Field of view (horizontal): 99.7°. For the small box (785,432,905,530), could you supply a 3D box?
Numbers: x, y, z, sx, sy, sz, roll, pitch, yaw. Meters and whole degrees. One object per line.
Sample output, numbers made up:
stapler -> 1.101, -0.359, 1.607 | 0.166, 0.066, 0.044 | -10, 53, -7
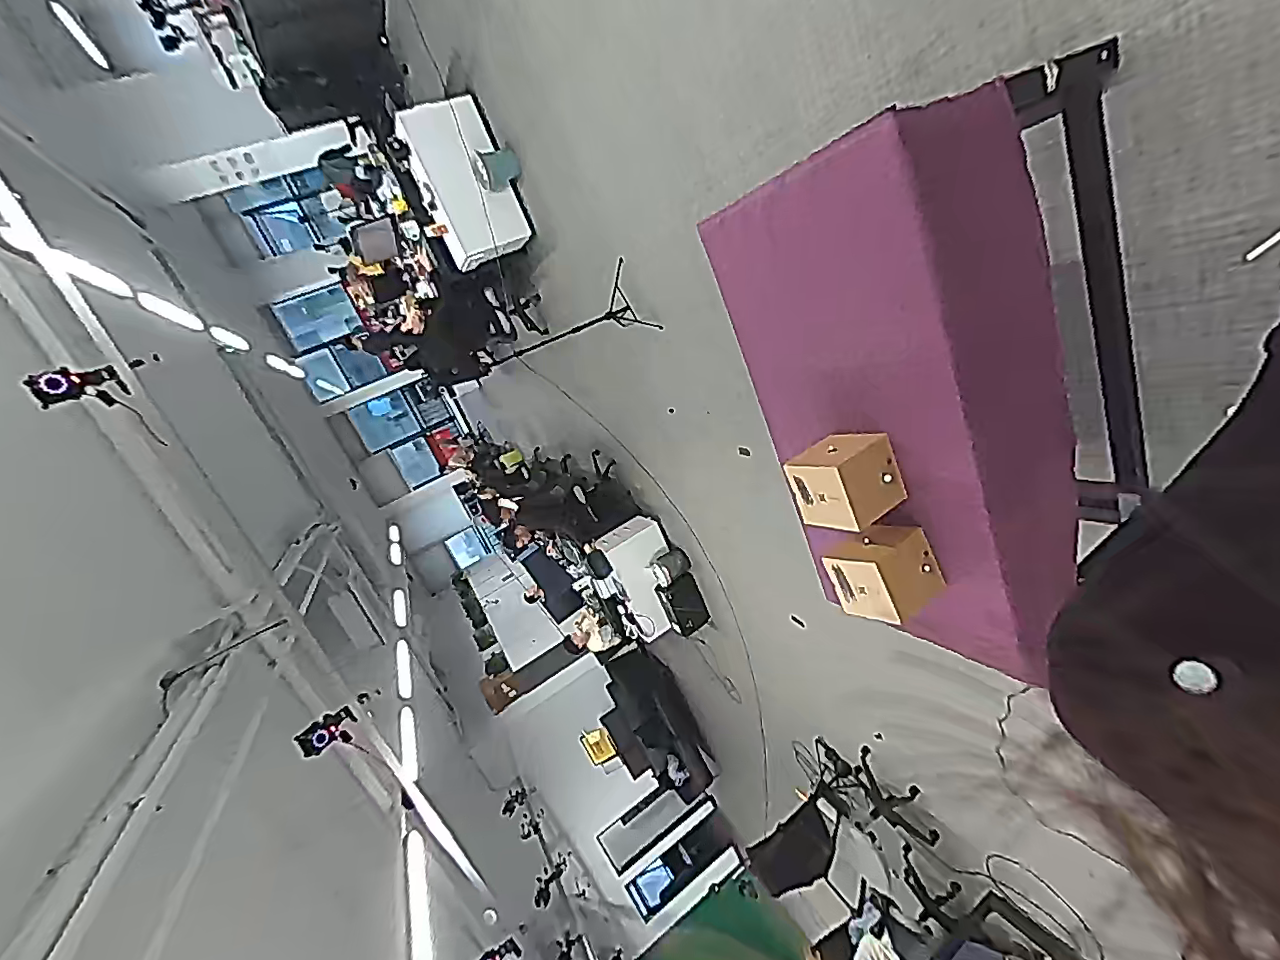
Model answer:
small box -> 0.482, -0.004, 1.274 | 0.179, 0.176, 0.168 | 7, 125, 65
